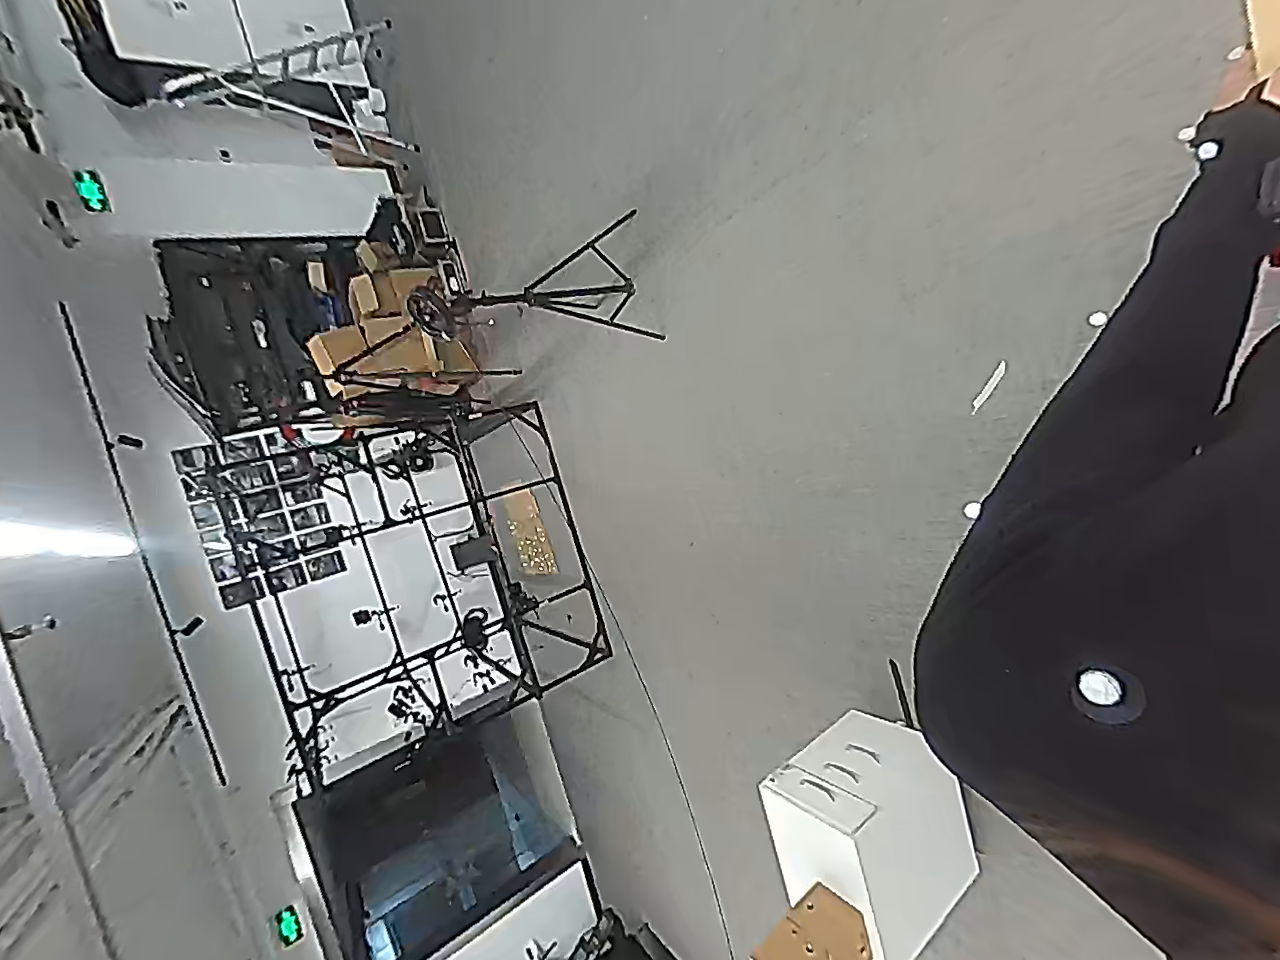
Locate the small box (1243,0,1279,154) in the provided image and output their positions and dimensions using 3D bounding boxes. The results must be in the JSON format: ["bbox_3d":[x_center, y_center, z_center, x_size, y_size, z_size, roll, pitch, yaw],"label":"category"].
[{"bbox_3d":[0.651,-0.409,0.466,0.168,0.176,0.179,-8,102,52],"label":"small box"}]

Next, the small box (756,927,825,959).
[{"bbox_3d":[0.461,1.480,1.584,0.168,0.176,0.179,-14,96,60],"label":"small box"}]

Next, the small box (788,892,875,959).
[{"bbox_3d":[0.592,1.430,1.669,0.179,0.176,0.168,-6,101,58],"label":"small box"}]
